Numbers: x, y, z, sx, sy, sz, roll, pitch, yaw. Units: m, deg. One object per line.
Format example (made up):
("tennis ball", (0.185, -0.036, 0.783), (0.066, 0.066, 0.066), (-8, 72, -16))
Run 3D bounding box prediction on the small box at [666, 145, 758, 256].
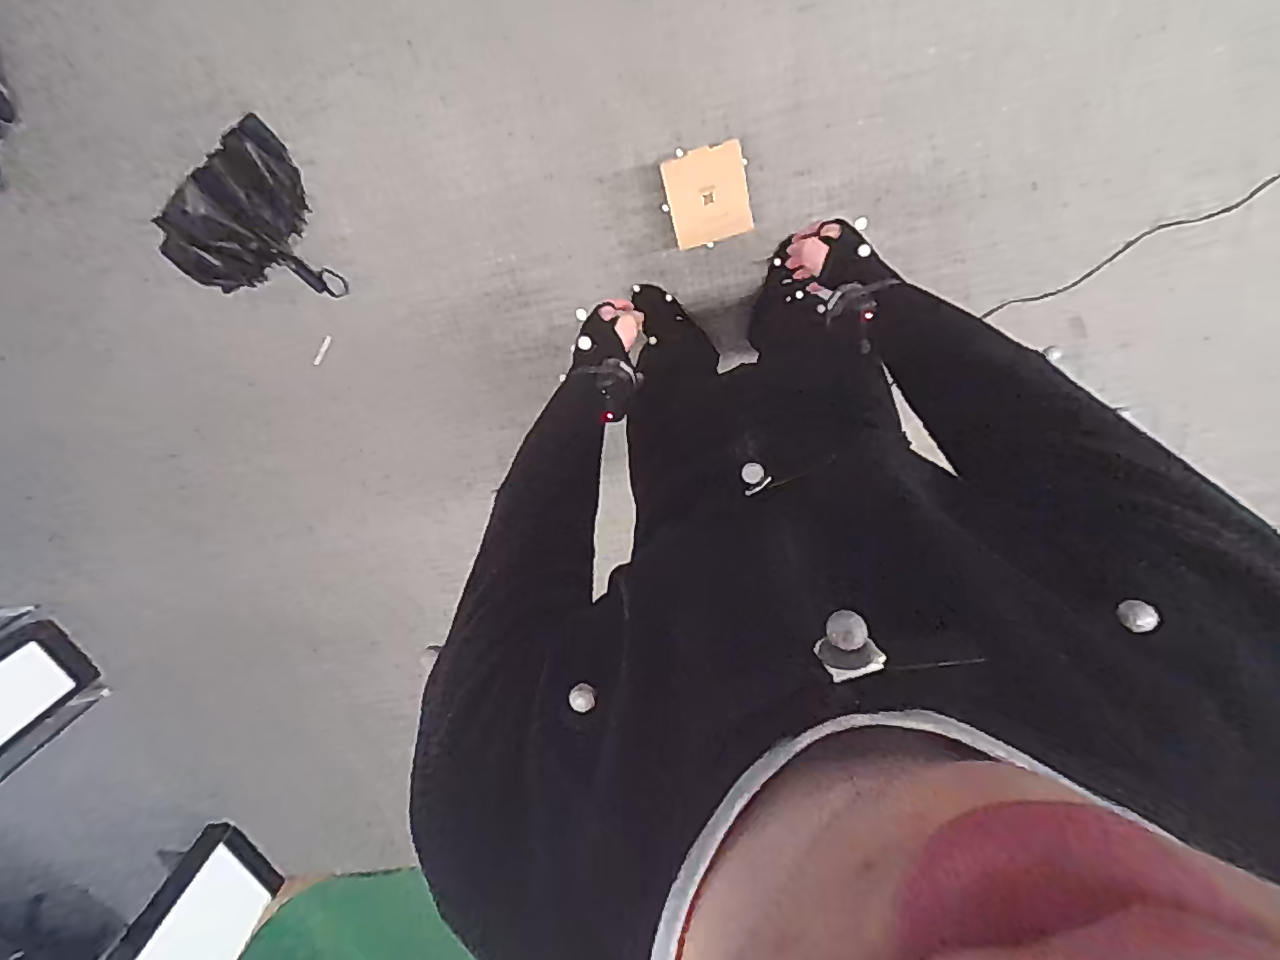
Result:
("small box", (0.158, -0.615, 1.205), (0.168, 0.176, 0.179), (-13, 115, 12))
